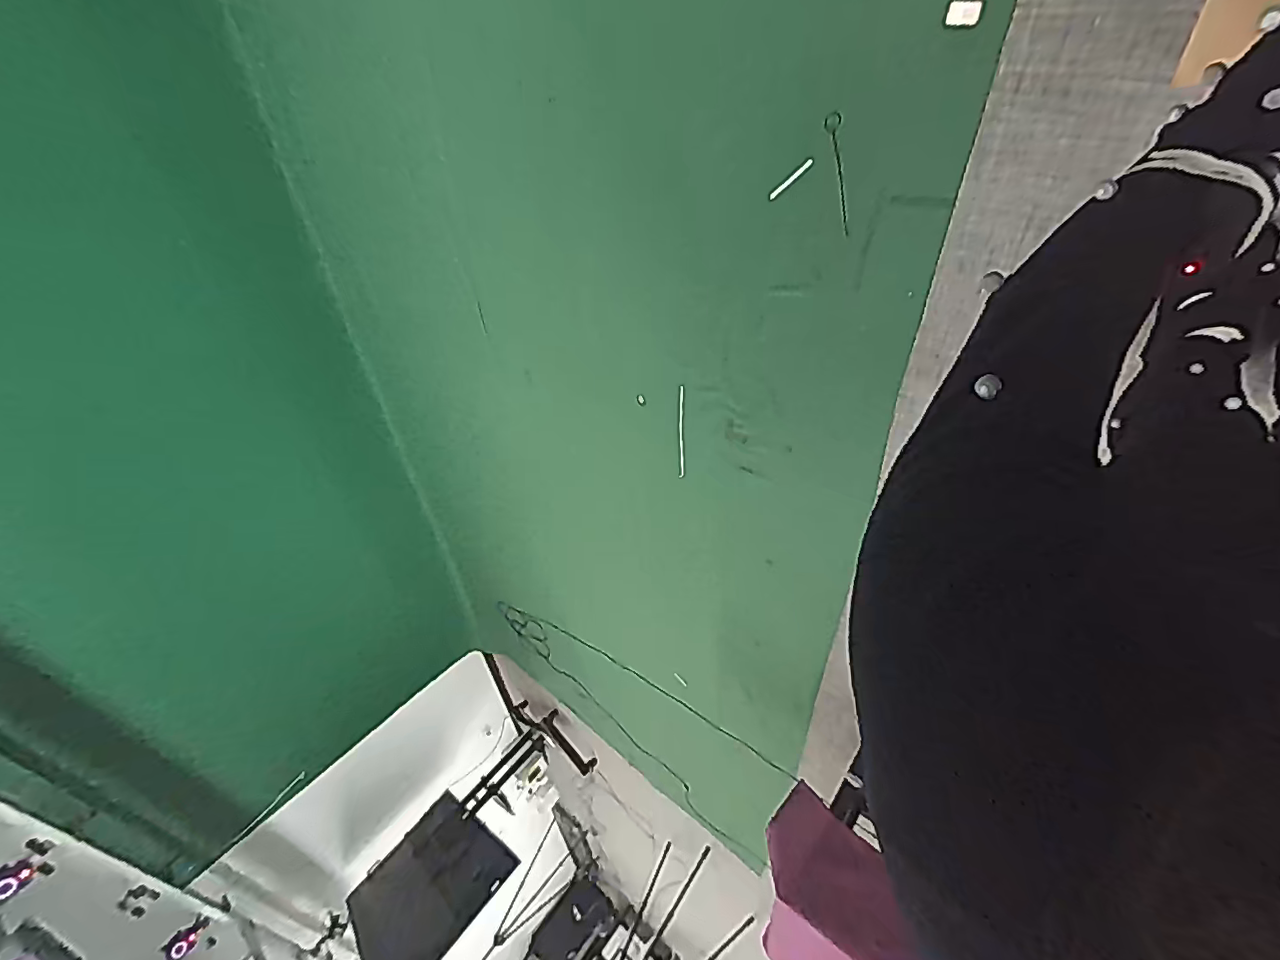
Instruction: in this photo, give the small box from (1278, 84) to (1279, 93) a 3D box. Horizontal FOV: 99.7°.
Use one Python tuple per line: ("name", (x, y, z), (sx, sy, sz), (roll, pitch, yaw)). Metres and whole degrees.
("small box", (0.608, -0.371, 0.367), (0.168, 0.176, 0.179), (28, 139, 31))
